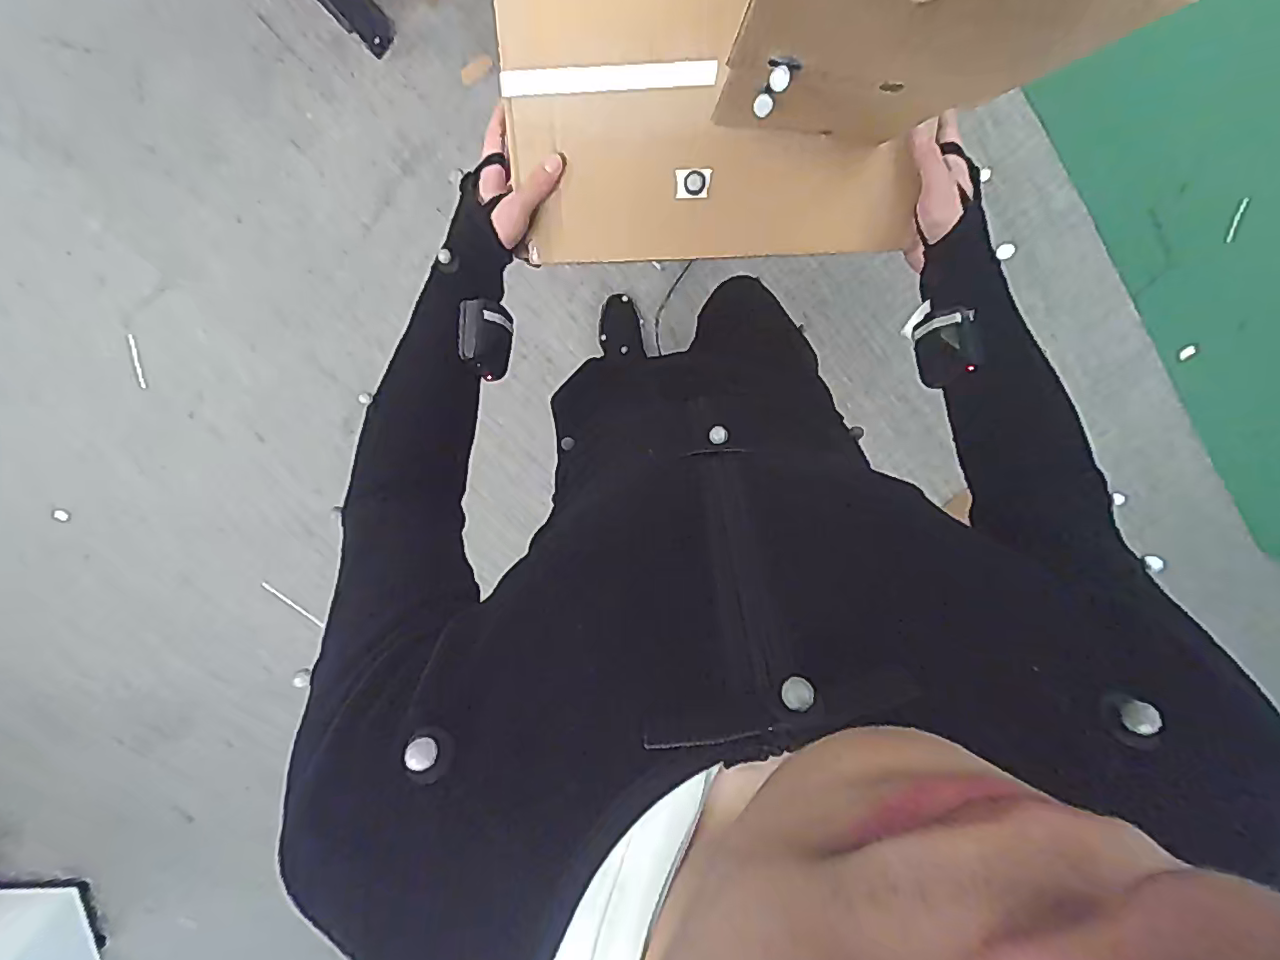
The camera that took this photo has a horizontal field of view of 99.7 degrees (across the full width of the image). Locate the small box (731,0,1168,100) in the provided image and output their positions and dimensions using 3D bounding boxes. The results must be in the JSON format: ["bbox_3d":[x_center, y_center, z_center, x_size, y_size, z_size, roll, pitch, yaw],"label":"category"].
[{"bbox_3d":[0.142,-0.298,0.237,0.168,0.176,0.179,8,111,-2],"label":"small box"}]
